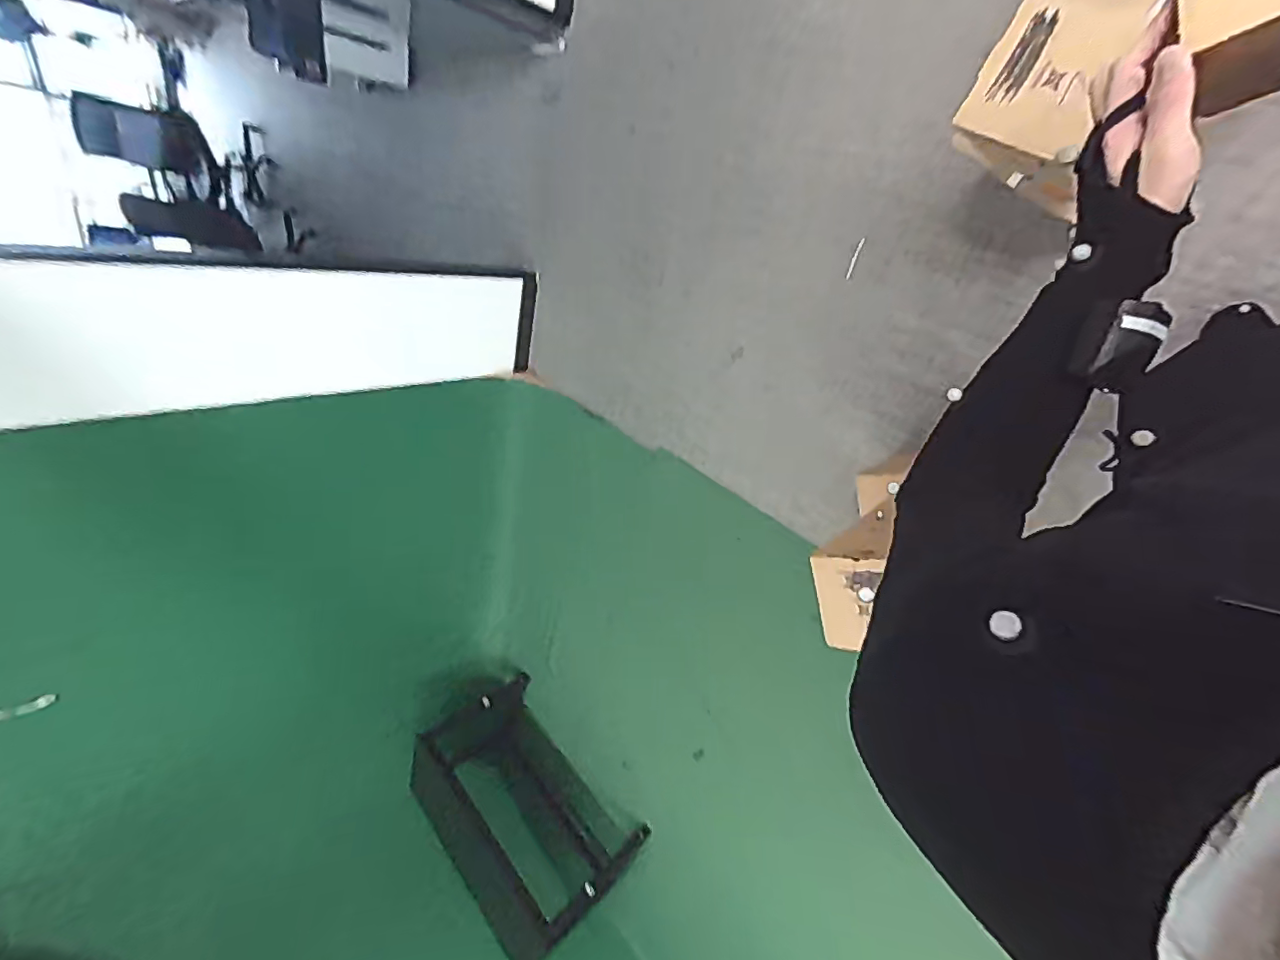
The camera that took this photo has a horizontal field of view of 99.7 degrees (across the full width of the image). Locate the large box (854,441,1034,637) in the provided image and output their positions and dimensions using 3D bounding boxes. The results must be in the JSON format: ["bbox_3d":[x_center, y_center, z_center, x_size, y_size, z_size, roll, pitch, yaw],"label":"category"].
[{"bbox_3d":[0.797,0.136,1.405,0.320,0.320,0.408,-4,101,46],"label":"large box"}]

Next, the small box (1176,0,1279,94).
[{"bbox_3d":[0.457,-0.380,0.336,0.168,0.176,0.179,-2,98,50],"label":"small box"}]

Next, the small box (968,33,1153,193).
[{"bbox_3d":[0.704,-0.604,0.910,0.179,0.176,0.168,43,128,24],"label":"small box"}]

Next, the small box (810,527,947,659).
[{"bbox_3d":[0.427,0.187,0.962,0.168,0.176,0.179,-5,102,44],"label":"small box"}]
